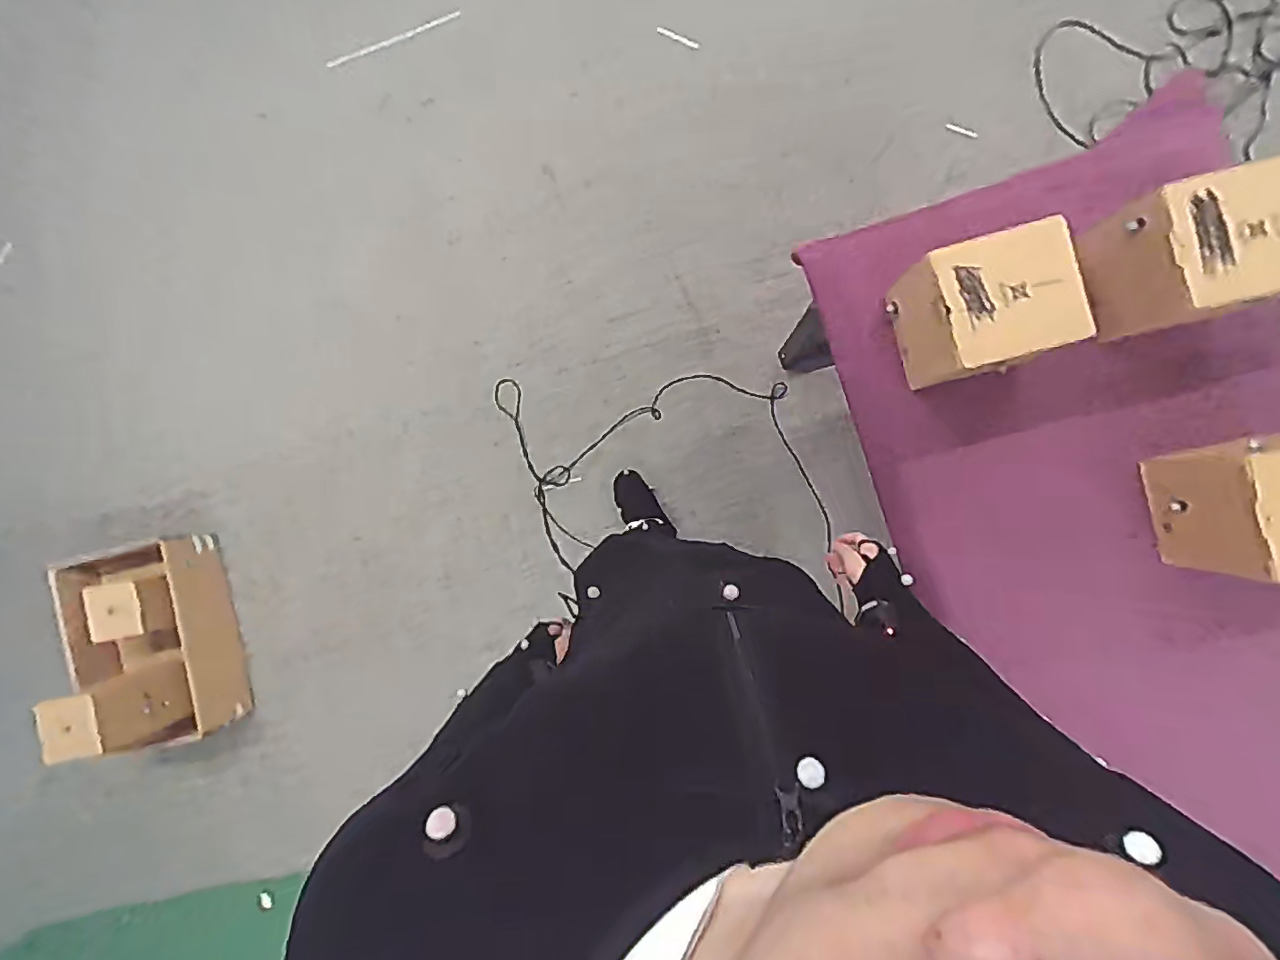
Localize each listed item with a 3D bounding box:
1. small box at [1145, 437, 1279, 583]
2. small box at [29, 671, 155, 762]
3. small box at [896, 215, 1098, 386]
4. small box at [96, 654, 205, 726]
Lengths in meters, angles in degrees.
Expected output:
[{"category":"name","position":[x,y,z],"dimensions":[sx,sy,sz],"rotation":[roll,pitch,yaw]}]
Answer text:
[{"category":"small box","position":[0.876,0.032,0.754],"dimensions":[0.179,0.176,0.168],"rotation":[-13,89,6]},{"category":"small box","position":[-1.509,0.648,1.496],"dimensions":[0.179,0.176,0.168],"rotation":[-12,89,5]},{"category":"small box","position":[0.495,-0.246,0.785],"dimensions":[0.179,0.176,0.168],"rotation":[-14,89,4]},{"category":"small box","position":[-1.496,0.649,1.659],"dimensions":[0.179,0.176,0.168],"rotation":[-12,89,6]}]
